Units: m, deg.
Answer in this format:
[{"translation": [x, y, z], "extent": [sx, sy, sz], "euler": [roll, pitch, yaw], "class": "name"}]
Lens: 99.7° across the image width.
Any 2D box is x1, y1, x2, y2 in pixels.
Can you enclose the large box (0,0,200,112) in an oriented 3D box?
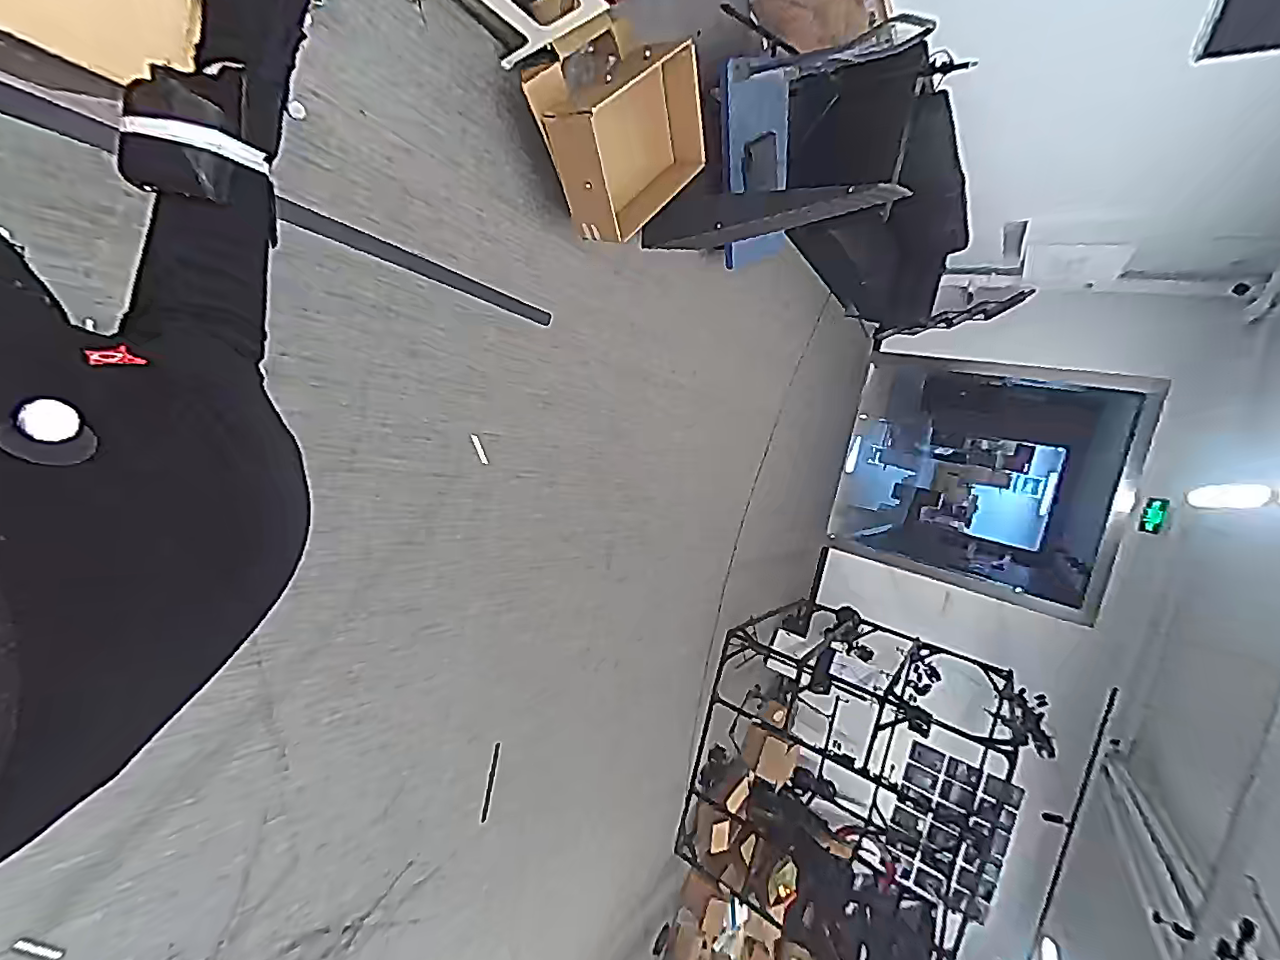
[{"translation": [-0.501, -0.449, 0.251], "extent": [0.408, 0.320, 0.320], "euler": [-5, 117, -60], "class": "large box"}]
